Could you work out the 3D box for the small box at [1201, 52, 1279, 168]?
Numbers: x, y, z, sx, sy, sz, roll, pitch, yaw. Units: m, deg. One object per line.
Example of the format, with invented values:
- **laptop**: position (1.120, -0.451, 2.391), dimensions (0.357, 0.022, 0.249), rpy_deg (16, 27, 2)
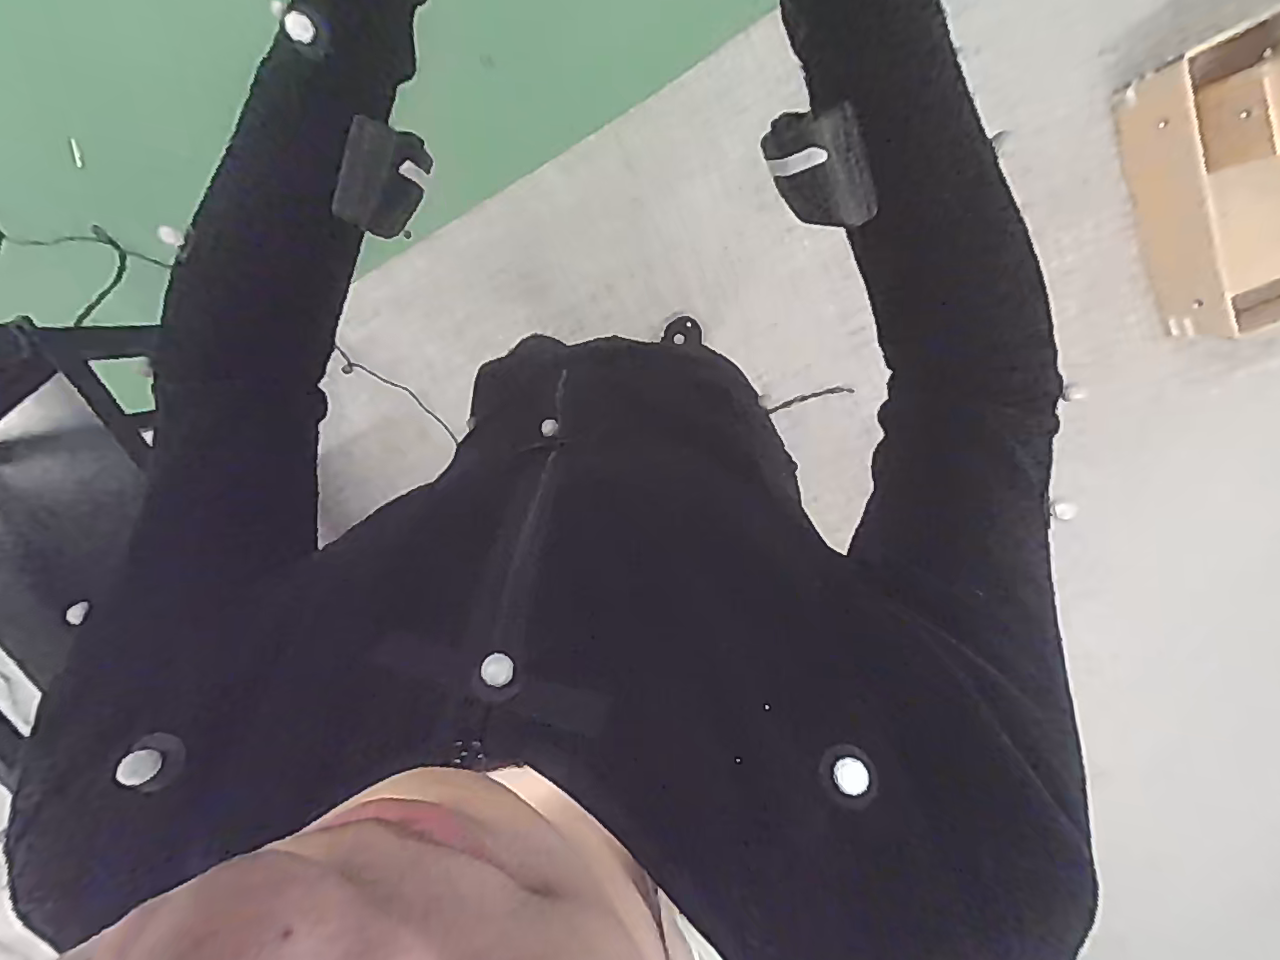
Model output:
- **small box**: position (1.317, -0.779, 1.107), dimensions (0.168, 0.176, 0.179), rpy_deg (-24, 105, 14)
